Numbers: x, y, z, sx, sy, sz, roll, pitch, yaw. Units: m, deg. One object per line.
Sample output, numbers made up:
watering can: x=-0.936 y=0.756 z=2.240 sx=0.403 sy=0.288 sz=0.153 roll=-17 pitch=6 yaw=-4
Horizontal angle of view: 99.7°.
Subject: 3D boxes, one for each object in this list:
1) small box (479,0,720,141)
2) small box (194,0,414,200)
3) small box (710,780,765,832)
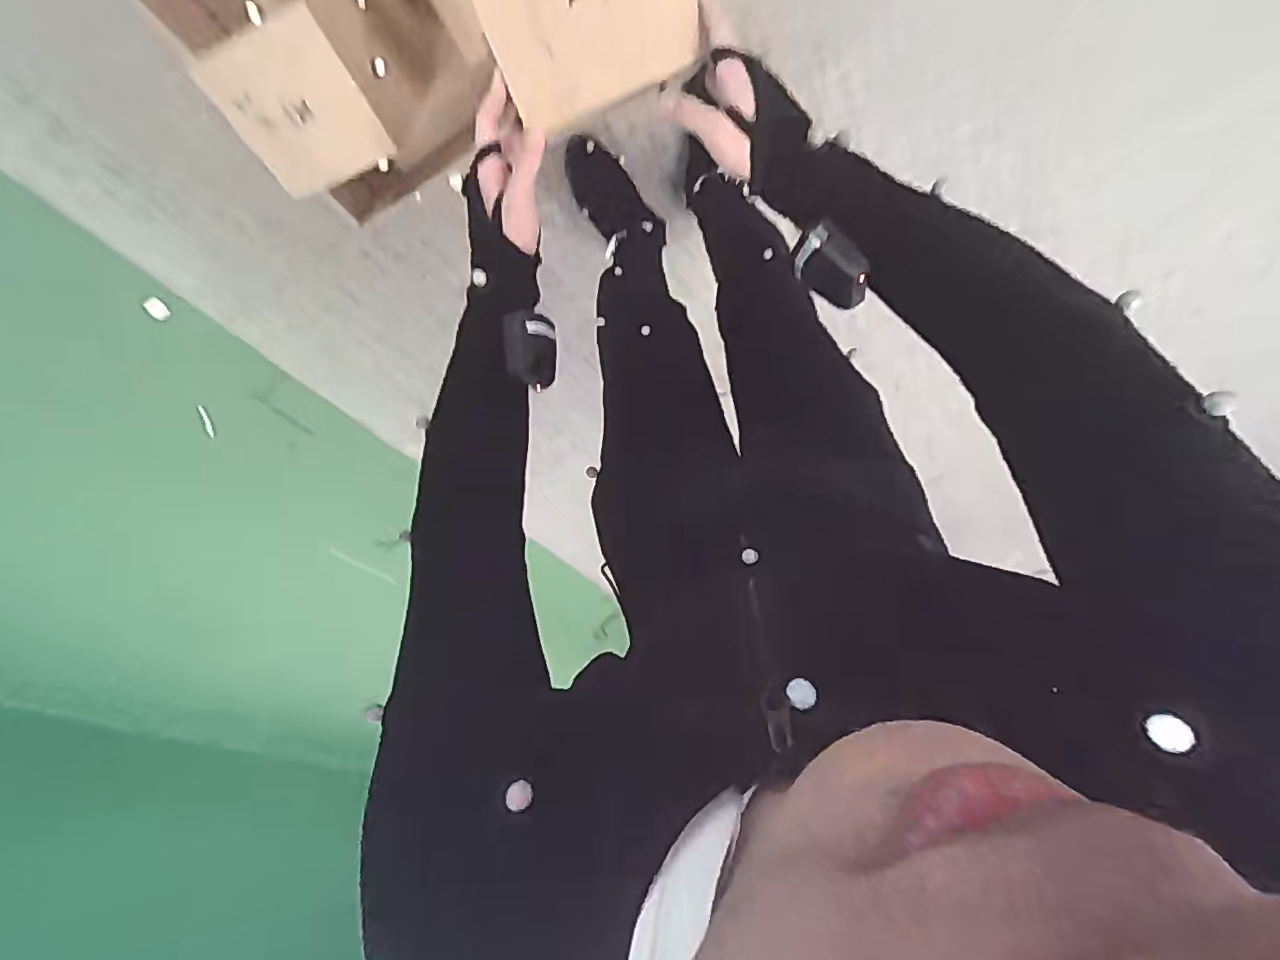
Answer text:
small box: x=-0.044 y=-0.433 z=0.492 sx=0.179 sy=0.176 sz=0.168 roll=-19 pitch=120 yaw=9
small box: x=-0.432 y=-0.524 z=0.734 sx=0.179 sy=0.176 sz=0.168 roll=-16 pitch=138 yaw=12
small box: x=0.422 y=1.413 z=2.344 sx=0.168 sy=0.176 sz=0.179 roll=-25 pitch=136 yaw=21
